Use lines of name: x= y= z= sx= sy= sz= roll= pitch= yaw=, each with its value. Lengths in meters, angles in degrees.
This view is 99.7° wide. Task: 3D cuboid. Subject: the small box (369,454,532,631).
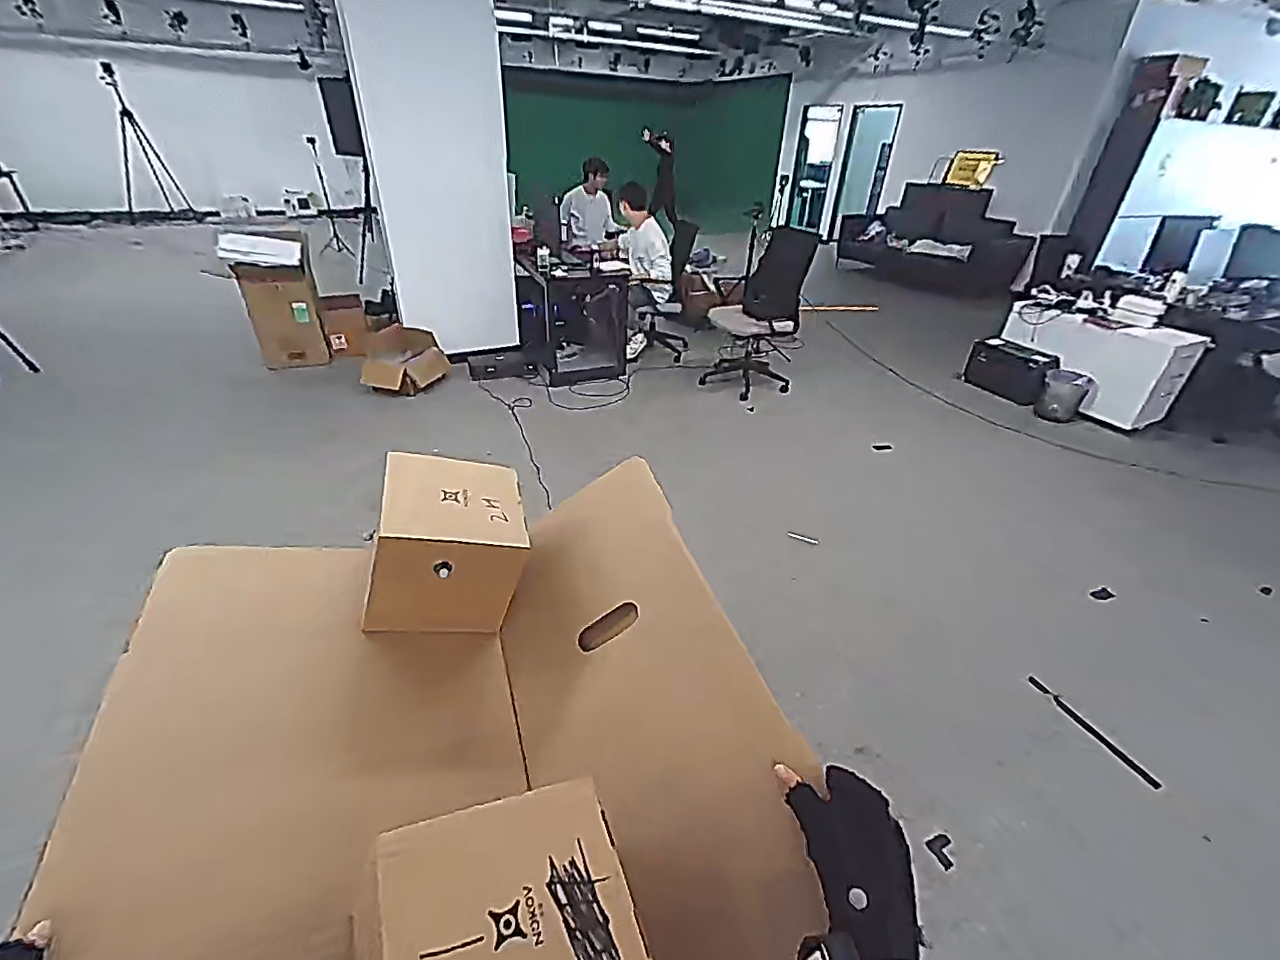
small box: x=-0.262 y=0.089 z=0.740 sx=0.179 sy=0.176 sz=0.168 roll=10 pitch=35 yaw=-26
